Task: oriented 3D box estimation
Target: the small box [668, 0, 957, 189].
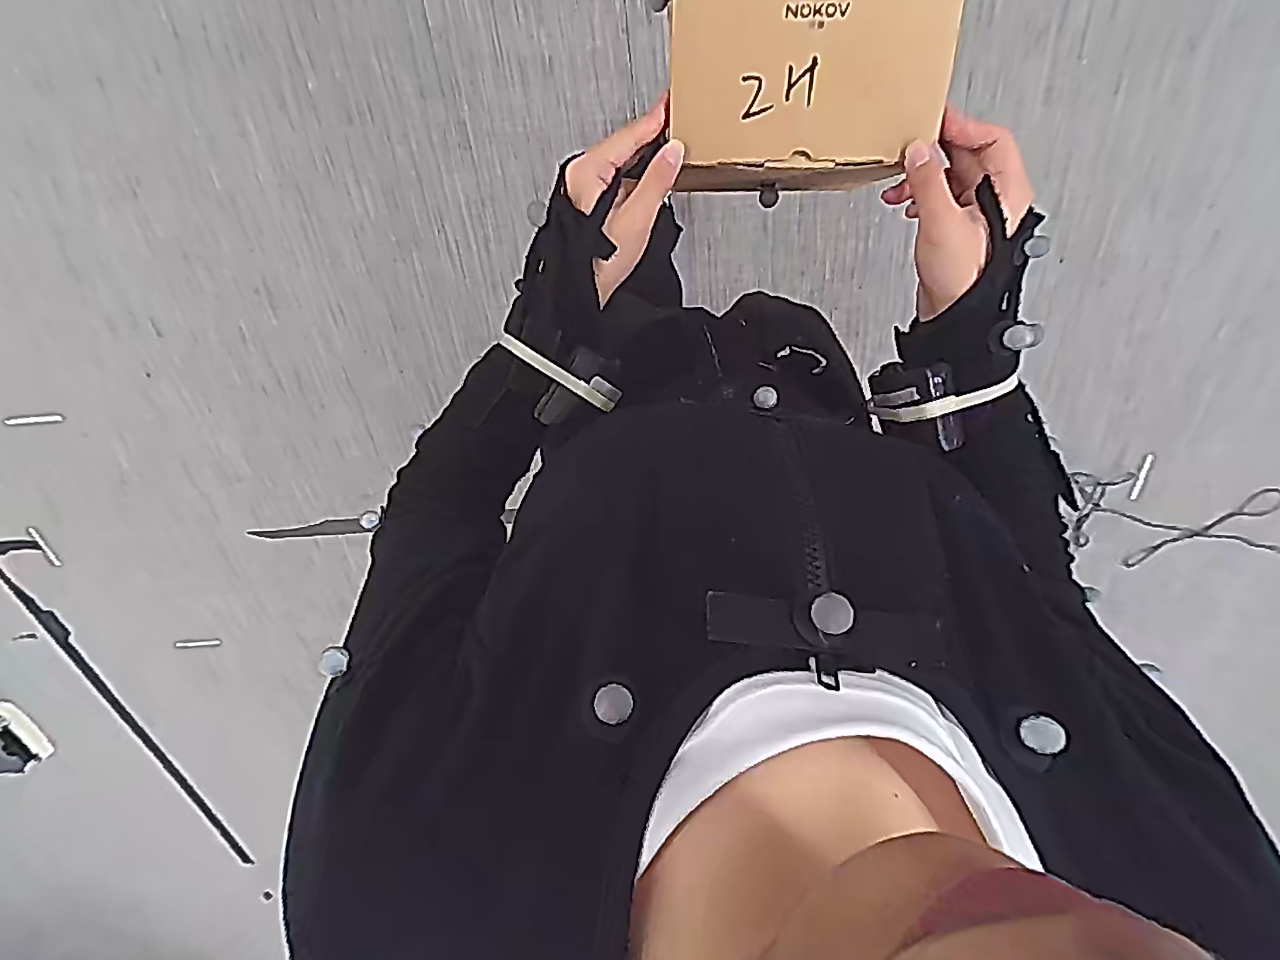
[{"bbox_3d":[0.105,-0.316,0.384,0.168,0.176,0.179,1,113,3],"label":"small box"}]
